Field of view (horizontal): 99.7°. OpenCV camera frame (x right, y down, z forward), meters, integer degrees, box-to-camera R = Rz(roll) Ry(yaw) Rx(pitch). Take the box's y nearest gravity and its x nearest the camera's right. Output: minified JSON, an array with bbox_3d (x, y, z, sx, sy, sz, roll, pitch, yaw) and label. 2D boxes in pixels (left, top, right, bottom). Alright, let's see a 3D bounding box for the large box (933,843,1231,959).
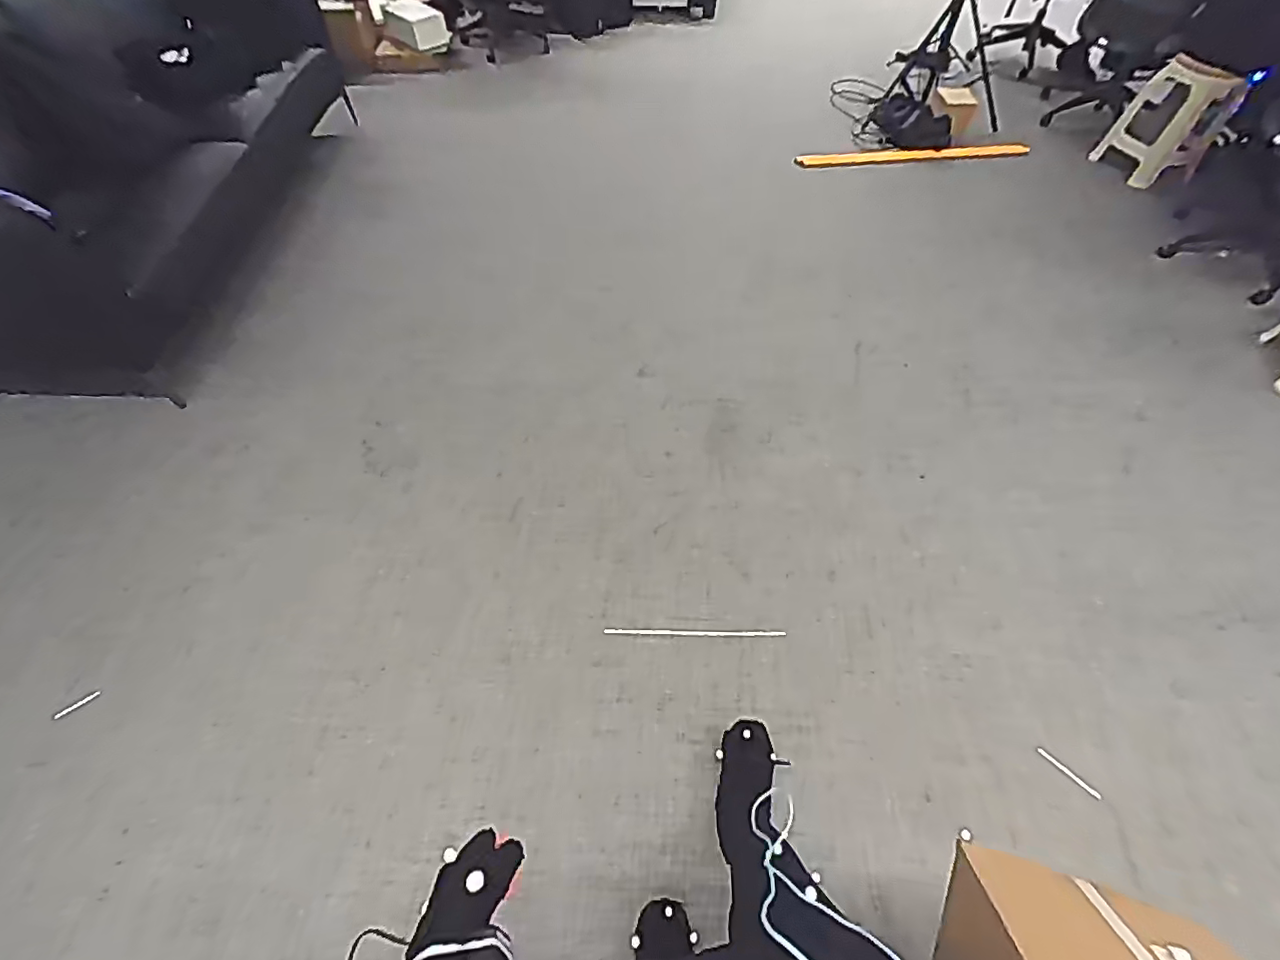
[{"bbox_3d":[0.548,0.720,0.594,0.320,0.408,0.320,14,90,14],"label":"large box"}]
